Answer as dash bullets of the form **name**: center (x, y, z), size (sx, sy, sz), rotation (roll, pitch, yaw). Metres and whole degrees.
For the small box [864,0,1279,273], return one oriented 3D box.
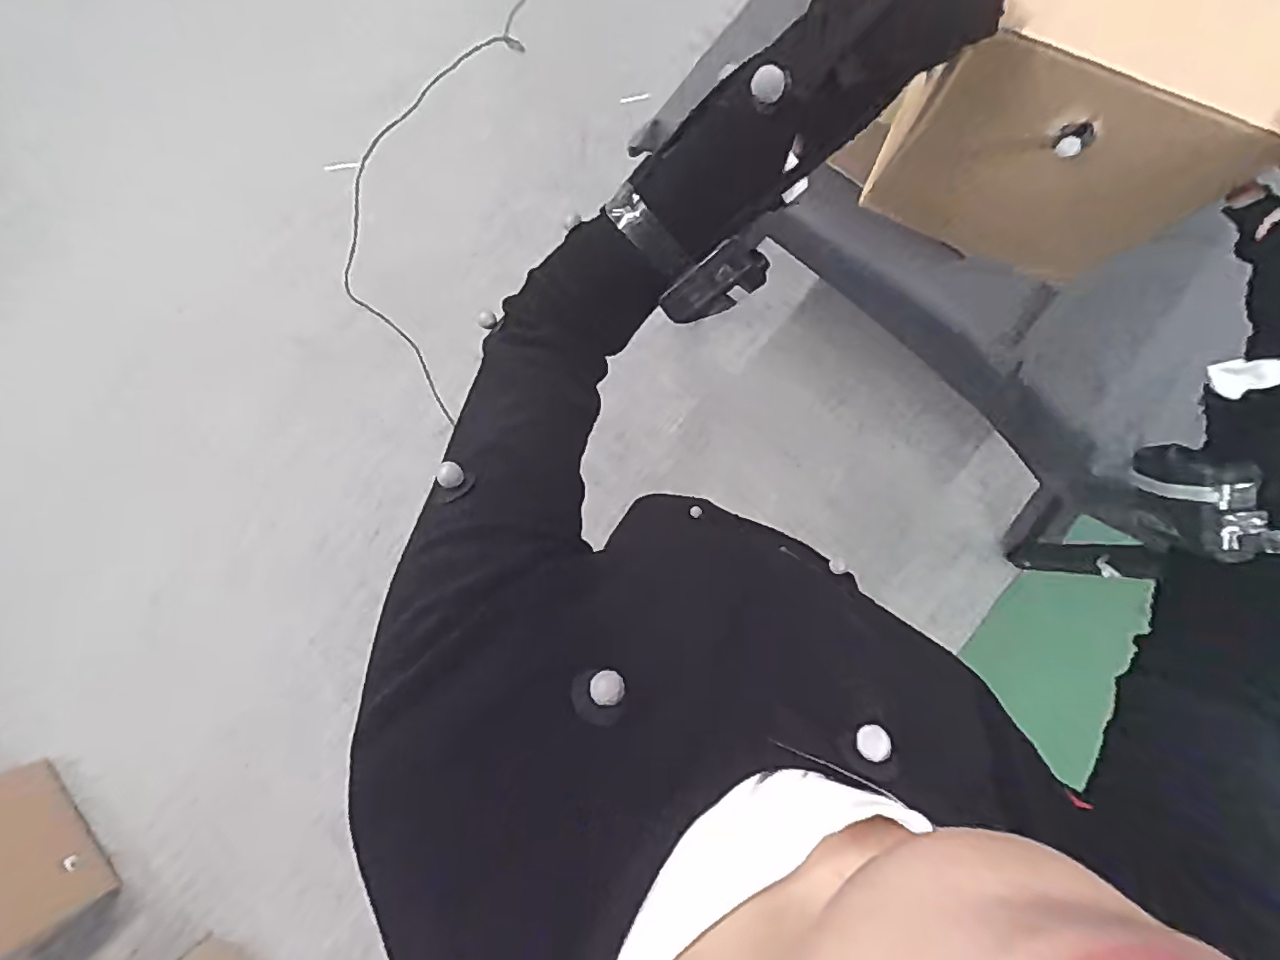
- **small box**: center (0.284, -0.270, 0.364), size (0.179, 0.176, 0.168), rotation (24, 86, 1)
